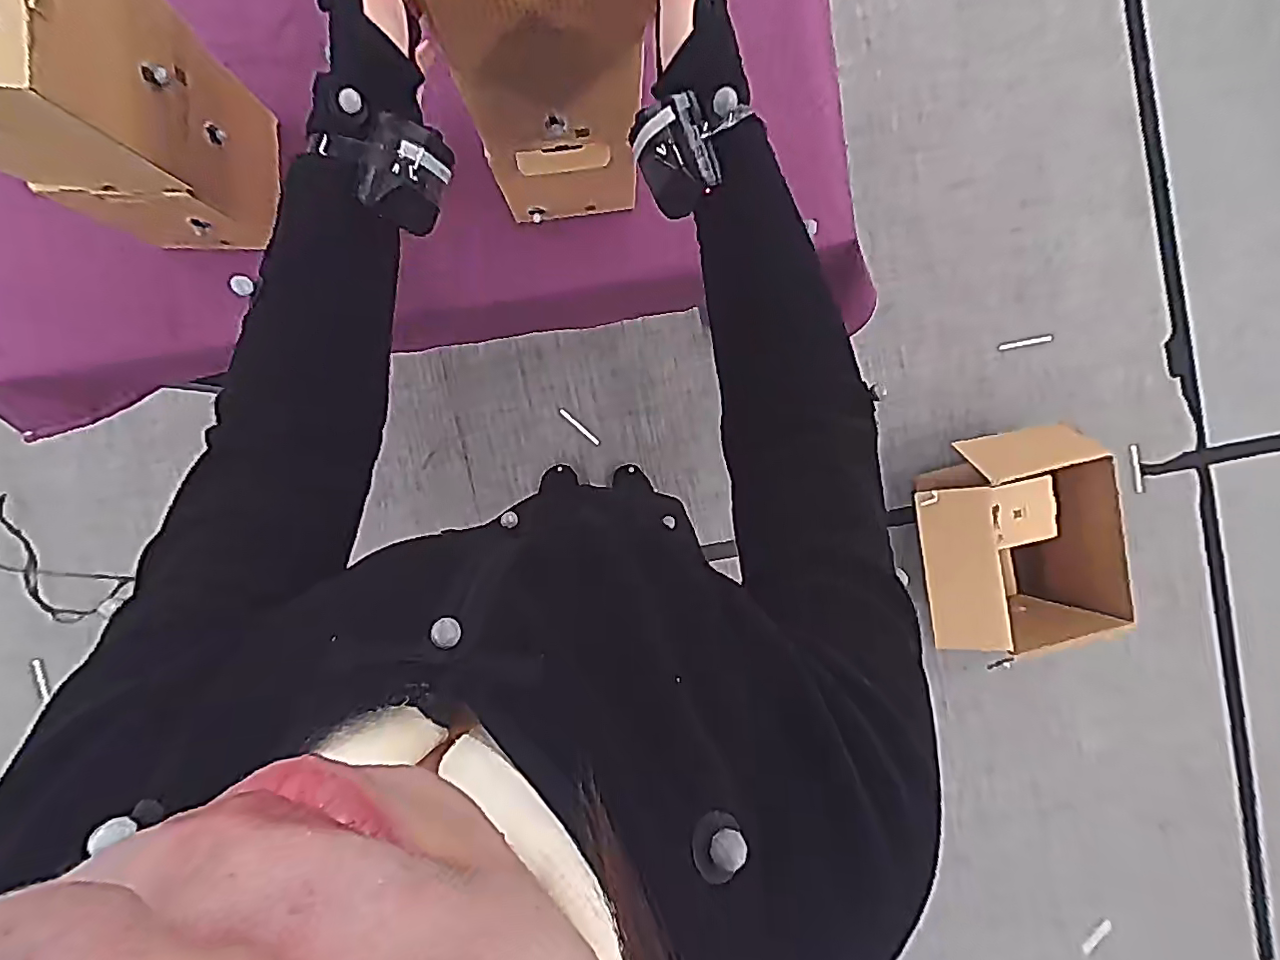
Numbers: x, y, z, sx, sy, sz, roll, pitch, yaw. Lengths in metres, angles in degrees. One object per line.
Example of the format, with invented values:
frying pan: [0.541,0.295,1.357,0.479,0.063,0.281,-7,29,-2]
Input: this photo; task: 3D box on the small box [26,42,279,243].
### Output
small box: [-0.561,-0.397,0.642,0.168,0.176,0.179,0,94,-3]

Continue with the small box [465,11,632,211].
small box: [-0.099,-0.447,0.654,0.168,0.176,0.179,-8,93,-2]

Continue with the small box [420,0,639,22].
small box: [-0.082,-0.425,0.328,0.179,0.176,0.168,-6,93,-2]

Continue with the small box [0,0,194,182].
small box: [-0.548,-0.388,0.478,0.179,0.176,0.168,2,95,-3]
